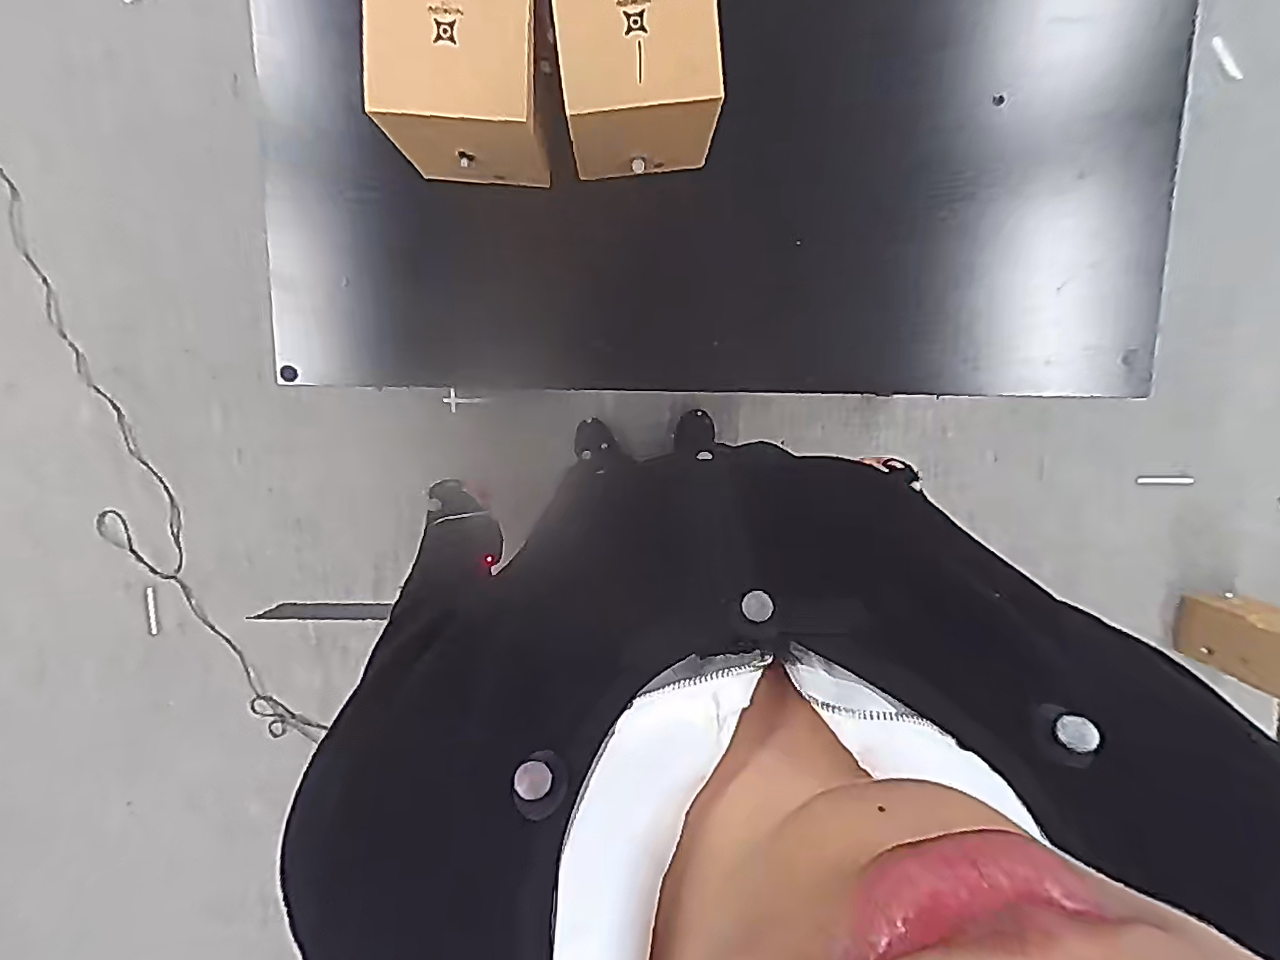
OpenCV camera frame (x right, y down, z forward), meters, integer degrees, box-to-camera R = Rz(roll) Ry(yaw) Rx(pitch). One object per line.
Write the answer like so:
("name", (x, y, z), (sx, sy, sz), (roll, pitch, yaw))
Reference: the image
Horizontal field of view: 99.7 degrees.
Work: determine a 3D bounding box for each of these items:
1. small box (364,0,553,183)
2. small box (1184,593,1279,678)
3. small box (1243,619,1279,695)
("small box", (-0.194, -0.466, 0.621), (0.168, 0.176, 0.179), (3, 97, -2))
("small box", (1.654, 0.422, 1.478), (0.168, 0.176, 0.179), (0, 97, -1))
("small box", (1.654, 0.446, 1.315), (0.179, 0.176, 0.168), (-2, 98, -1))
